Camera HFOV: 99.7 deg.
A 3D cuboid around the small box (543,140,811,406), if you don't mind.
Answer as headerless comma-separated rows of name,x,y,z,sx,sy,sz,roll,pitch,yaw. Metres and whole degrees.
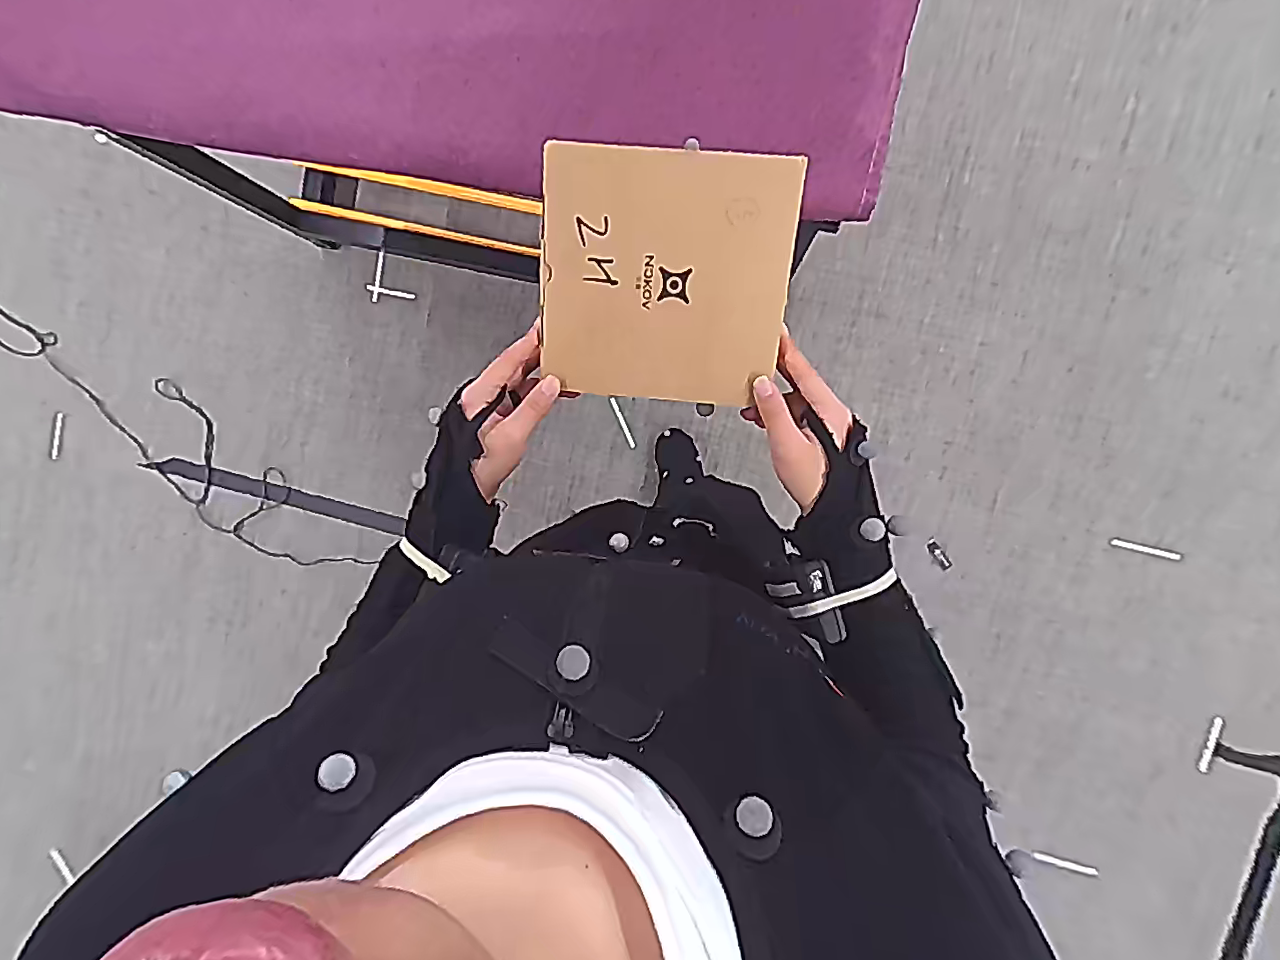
small box,0.026,-0.166,0.457,0.179,0.176,0.168,6,109,3
